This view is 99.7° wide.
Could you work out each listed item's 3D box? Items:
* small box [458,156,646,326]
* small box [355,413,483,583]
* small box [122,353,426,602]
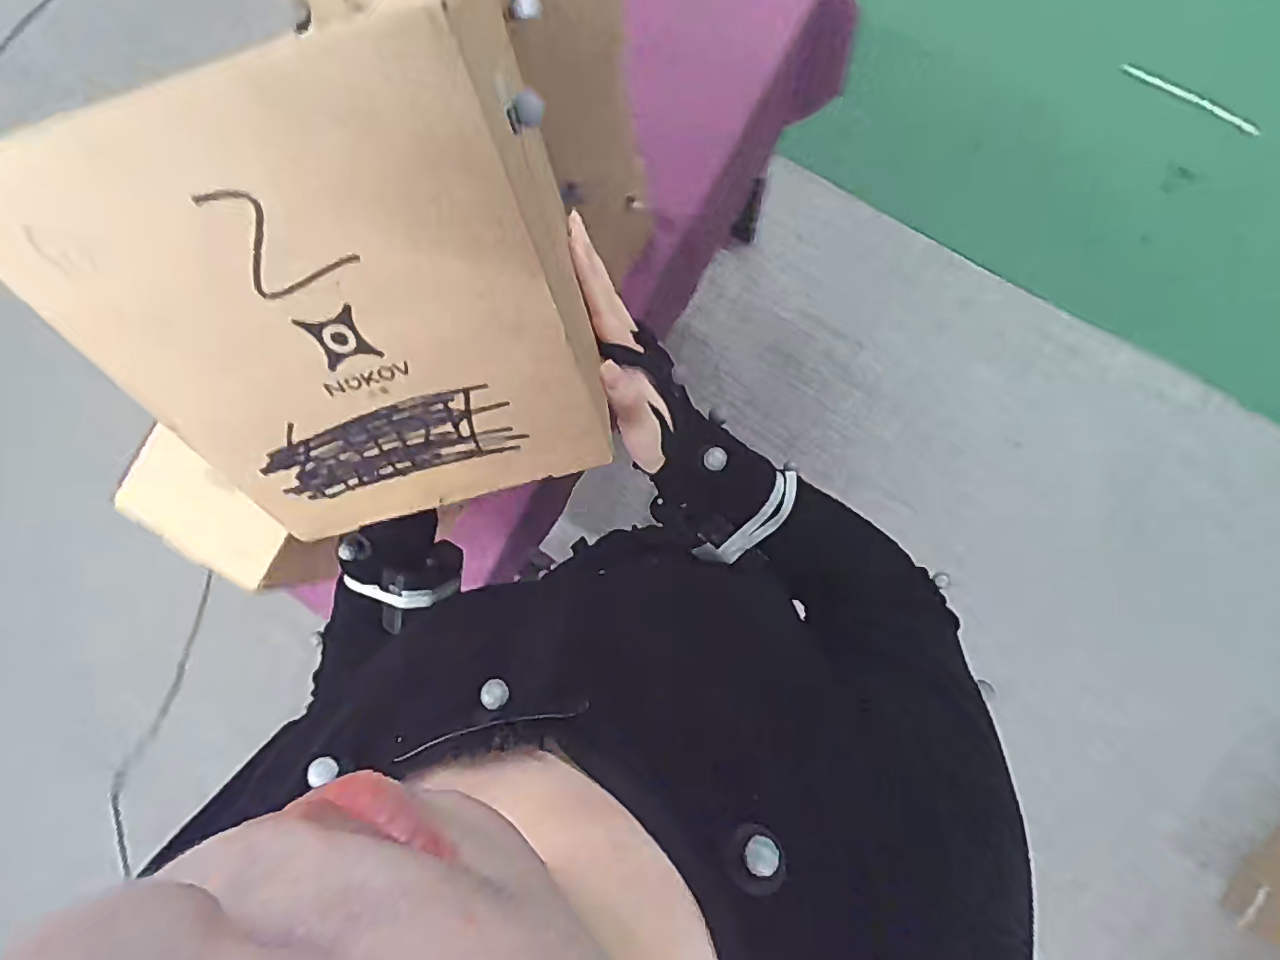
[{"bbox_3d":[-0.104,-0.337,0.729,0.168,0.176,0.179,31,90,7],"label":"small box"},{"bbox_3d":[-0.346,0.015,0.733,0.179,0.176,0.168,32,90,7],"label":"small box"},{"bbox_3d":[-0.361,0.001,0.571,0.168,0.176,0.179,31,90,6],"label":"small box"}]
